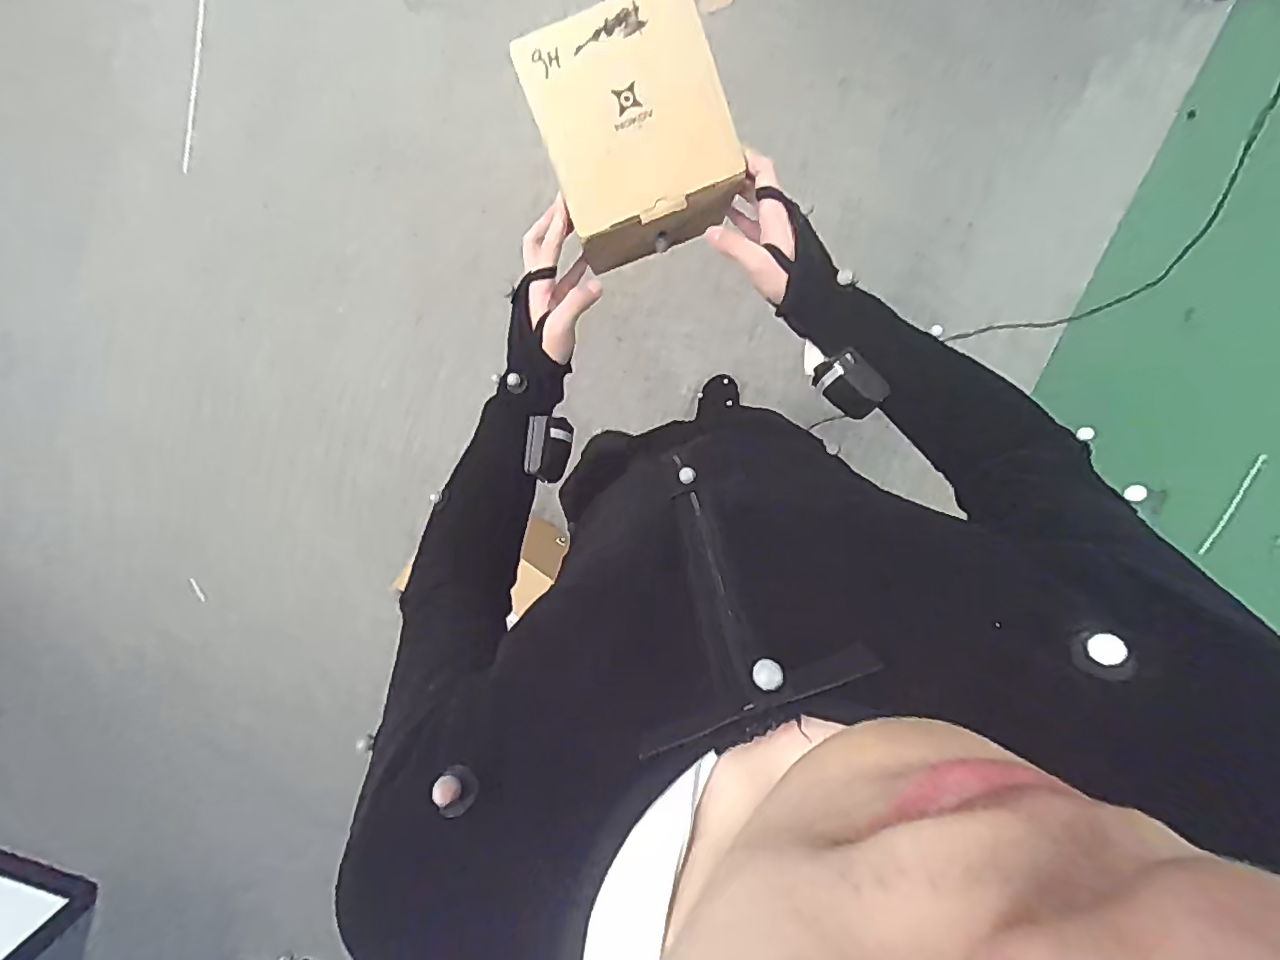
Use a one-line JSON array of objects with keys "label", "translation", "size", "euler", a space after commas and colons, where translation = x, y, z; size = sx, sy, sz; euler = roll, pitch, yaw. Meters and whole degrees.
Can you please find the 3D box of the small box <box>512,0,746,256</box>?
[{"label": "small box", "translation": [-0.007, -0.347, 0.554], "size": [0.168, 0.176, 0.179], "euler": [-20, 101, 3]}]
